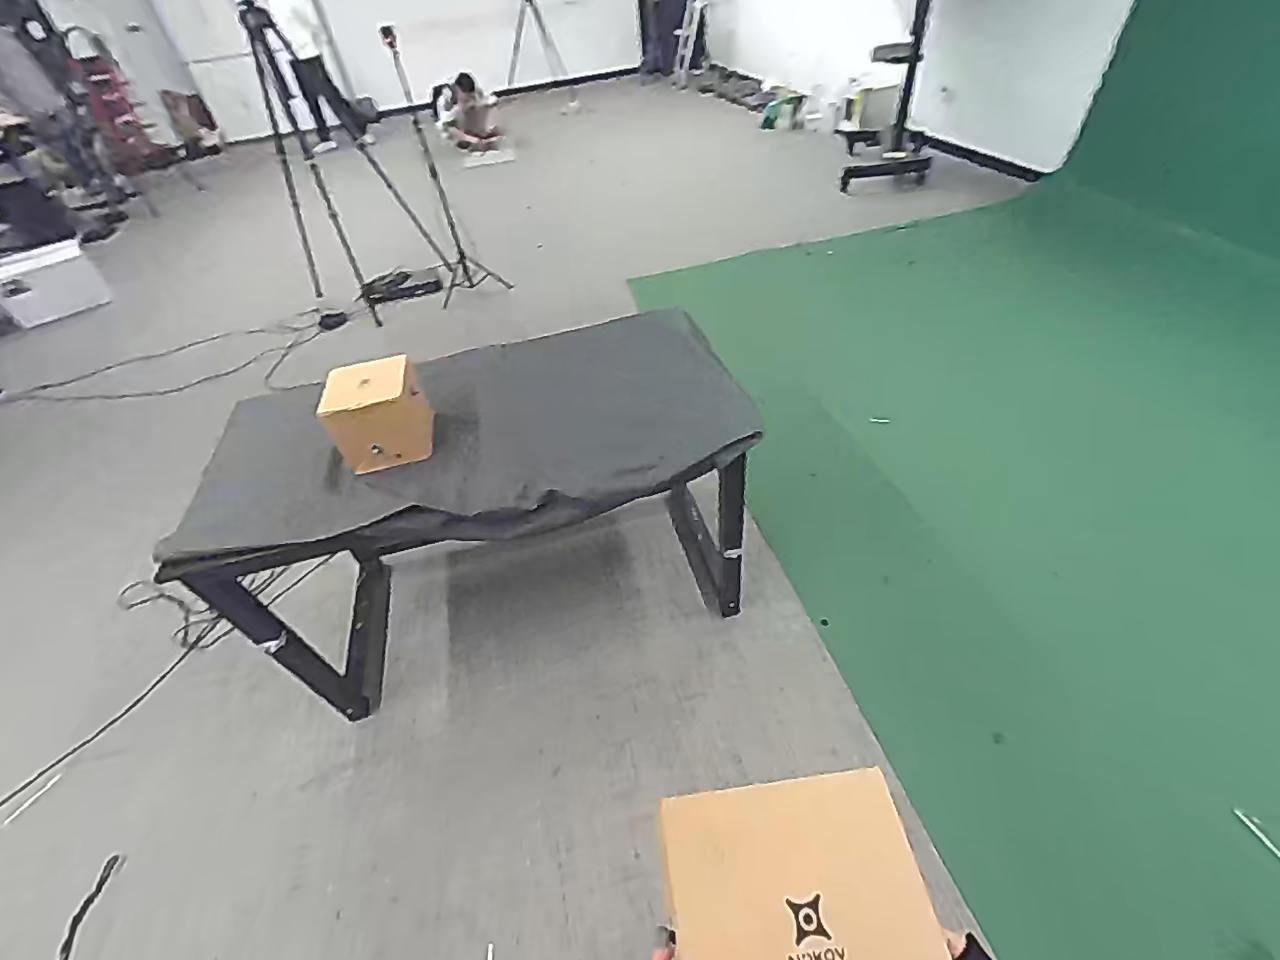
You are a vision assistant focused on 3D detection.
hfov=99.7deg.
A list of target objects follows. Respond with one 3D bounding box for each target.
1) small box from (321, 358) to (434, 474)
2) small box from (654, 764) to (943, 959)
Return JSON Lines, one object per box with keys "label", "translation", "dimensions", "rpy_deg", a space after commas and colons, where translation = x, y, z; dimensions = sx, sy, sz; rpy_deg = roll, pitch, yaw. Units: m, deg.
{"label": "small box", "translation": [-0.565, -0.141, 1.190], "dimensions": [0.168, 0.176, 0.179], "rpy_deg": [-13, 45, -6]}
{"label": "small box", "translation": [0.102, 0.335, 0.401], "dimensions": [0.168, 0.176, 0.179], "rpy_deg": [-6, 51, -4]}
